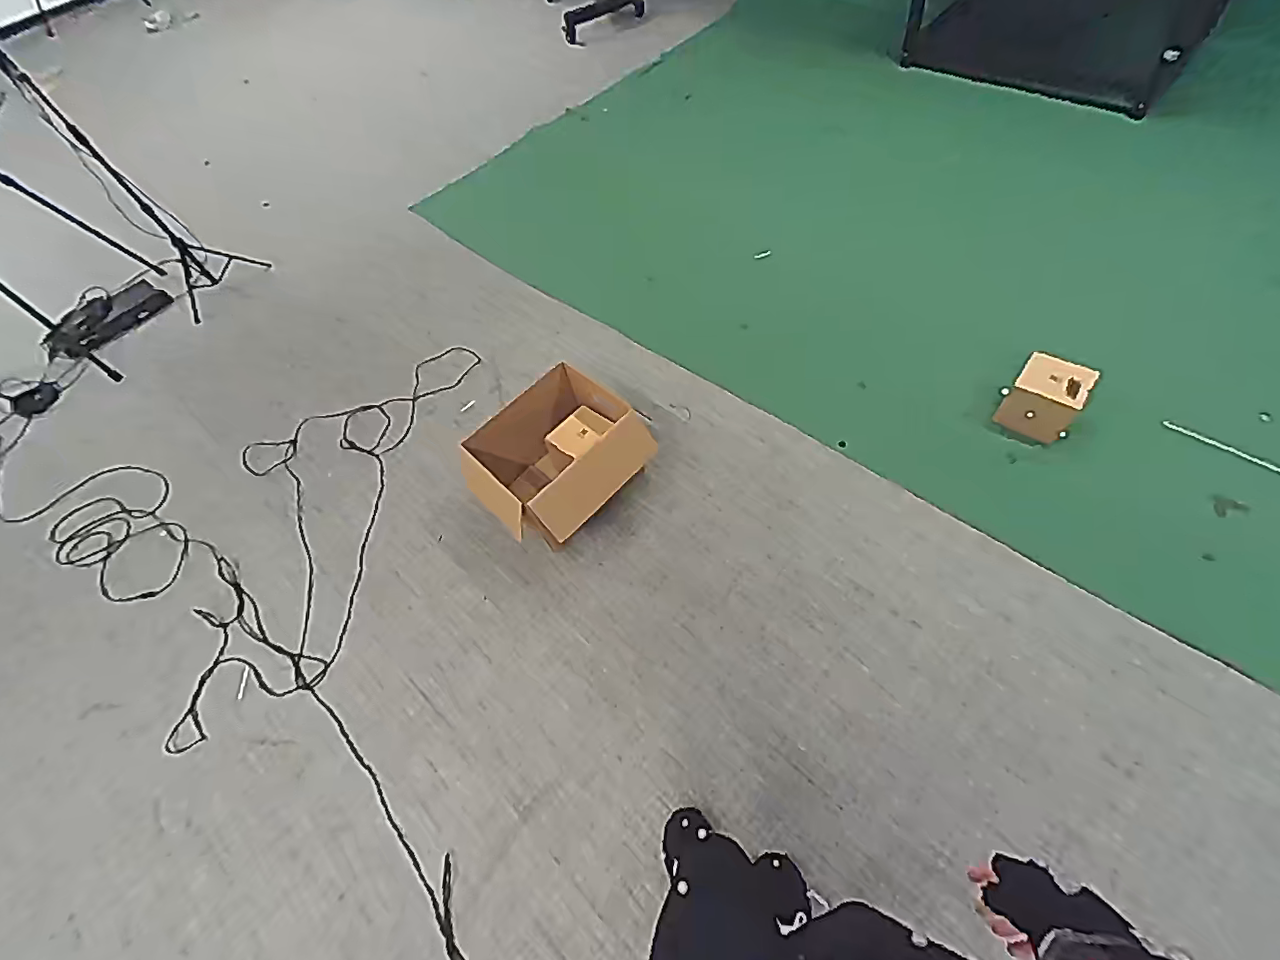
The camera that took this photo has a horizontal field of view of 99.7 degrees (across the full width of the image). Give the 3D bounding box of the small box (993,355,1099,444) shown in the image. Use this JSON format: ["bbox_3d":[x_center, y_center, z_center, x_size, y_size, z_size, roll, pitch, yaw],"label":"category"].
[{"bbox_3d":[1.202,-0.233,1.611,0.179,0.176,0.168,32,67,27],"label":"small box"}]
